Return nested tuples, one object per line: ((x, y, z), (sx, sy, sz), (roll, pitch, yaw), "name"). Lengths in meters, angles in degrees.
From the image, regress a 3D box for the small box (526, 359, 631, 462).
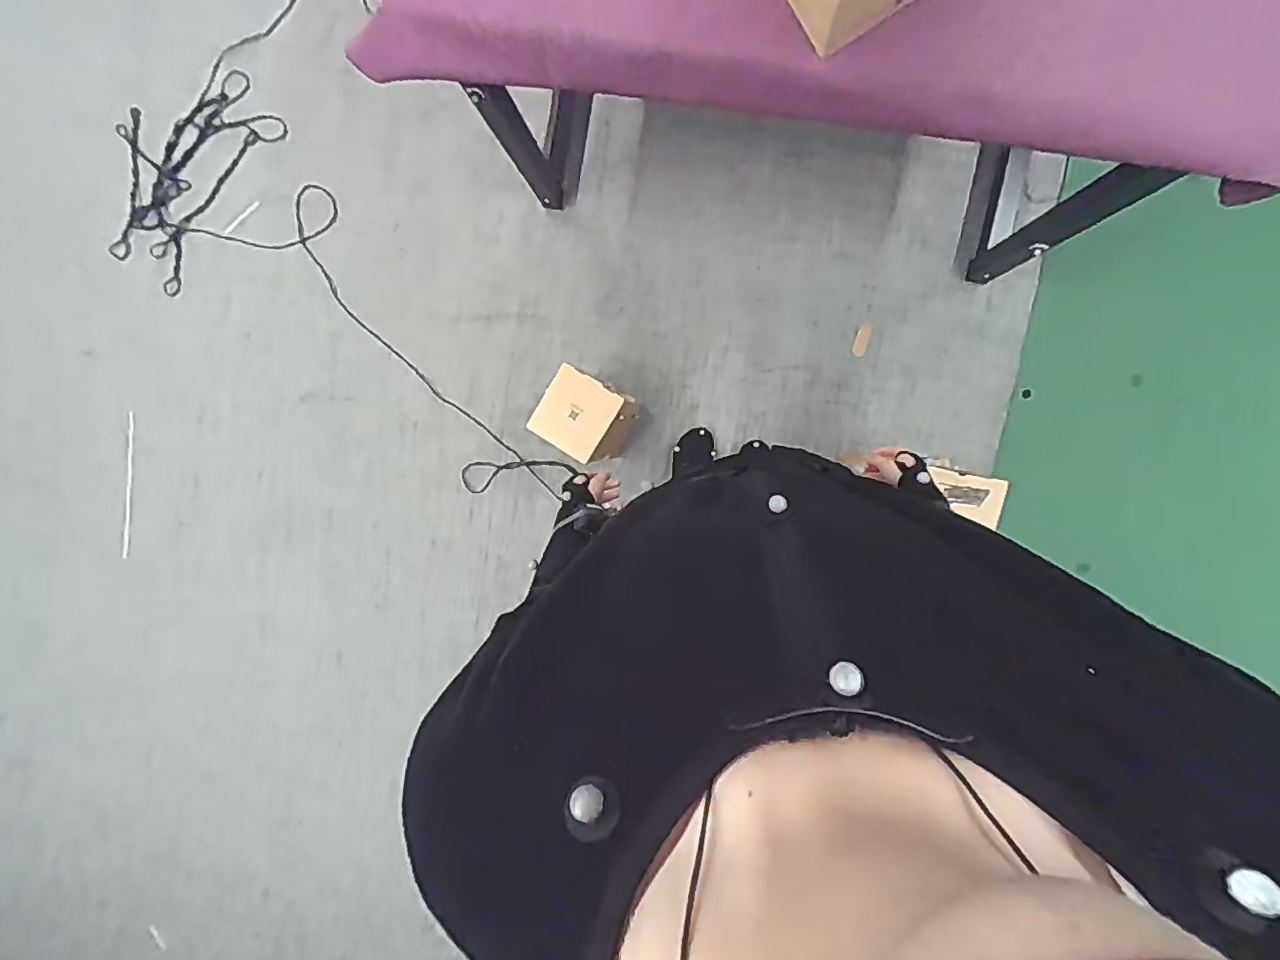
((-0.136, -0.160, 1.282), (0.168, 0.176, 0.179), (32, 97, 4), "small box")

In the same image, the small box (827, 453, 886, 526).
((0.600, 0.036, 1.381), (0.179, 0.176, 0.168), (21, 97, 4), "small box")

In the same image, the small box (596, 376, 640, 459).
((-0.110, -0.173, 1.441), (0.168, 0.176, 0.179), (27, 98, 4), "small box")

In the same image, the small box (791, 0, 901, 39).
((0.260, -0.667, 0.623), (0.168, 0.176, 0.179), (-30, 90, 7), "small box")

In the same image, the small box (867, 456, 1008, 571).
((0.566, 0.056, 1.054), (0.168, 0.176, 0.179), (13, 97, 4), "small box")
